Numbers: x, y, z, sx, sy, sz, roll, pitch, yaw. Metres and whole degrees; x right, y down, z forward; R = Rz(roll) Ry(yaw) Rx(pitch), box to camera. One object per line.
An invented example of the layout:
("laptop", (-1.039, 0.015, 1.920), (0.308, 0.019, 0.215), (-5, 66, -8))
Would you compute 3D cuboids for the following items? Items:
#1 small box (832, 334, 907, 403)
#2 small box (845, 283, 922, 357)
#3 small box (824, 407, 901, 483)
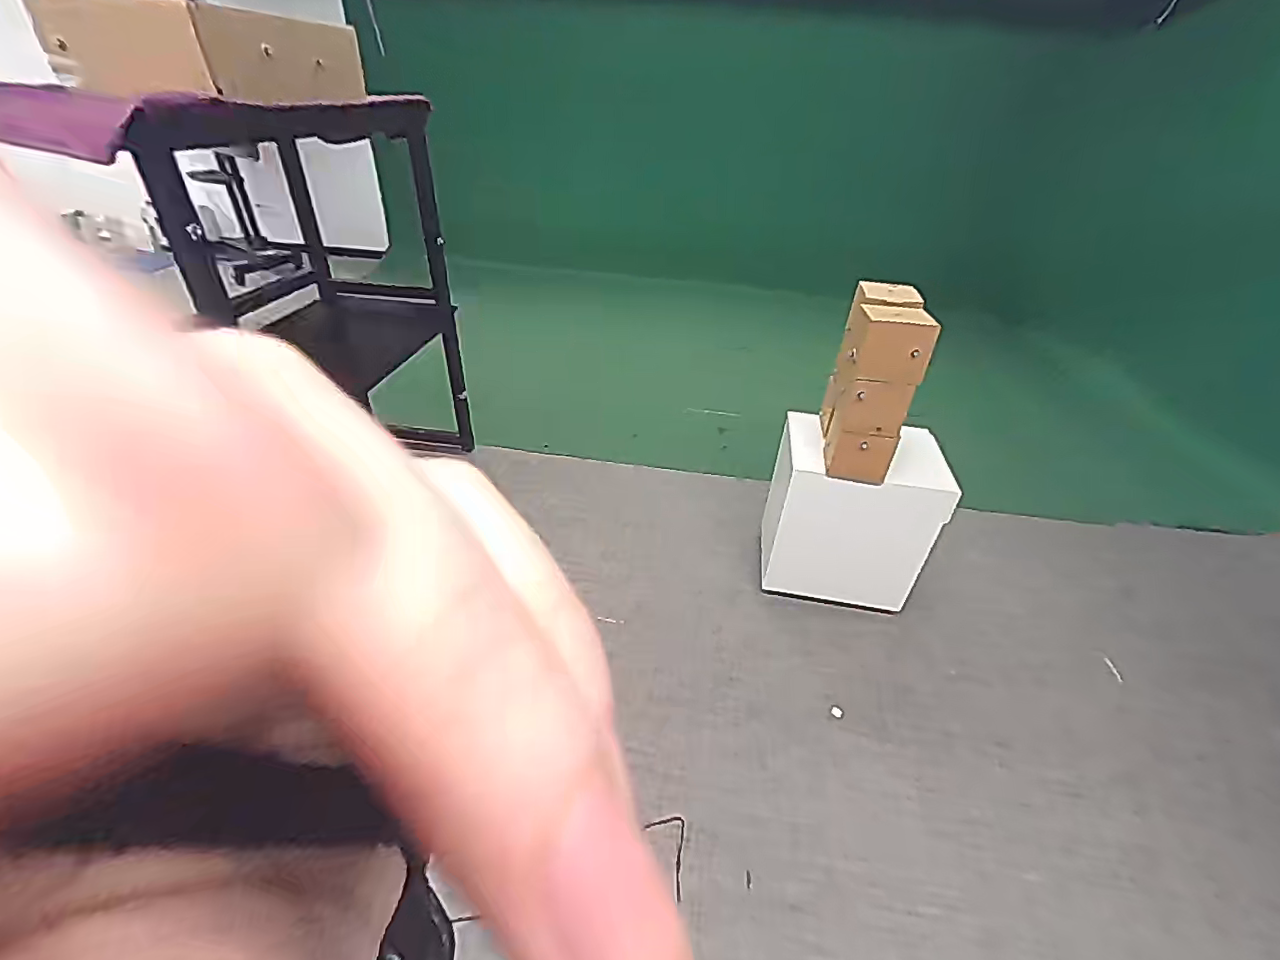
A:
("small box", (0.751, -0.368, 1.785), (0.179, 0.176, 0.168), (9, 37, 8))
("small box", (0.750, -0.498, 1.684), (0.168, 0.176, 0.179), (9, 38, 7))
("small box", (0.691, -0.108, 1.701), (0.179, 0.176, 0.168), (9, 35, 8))
